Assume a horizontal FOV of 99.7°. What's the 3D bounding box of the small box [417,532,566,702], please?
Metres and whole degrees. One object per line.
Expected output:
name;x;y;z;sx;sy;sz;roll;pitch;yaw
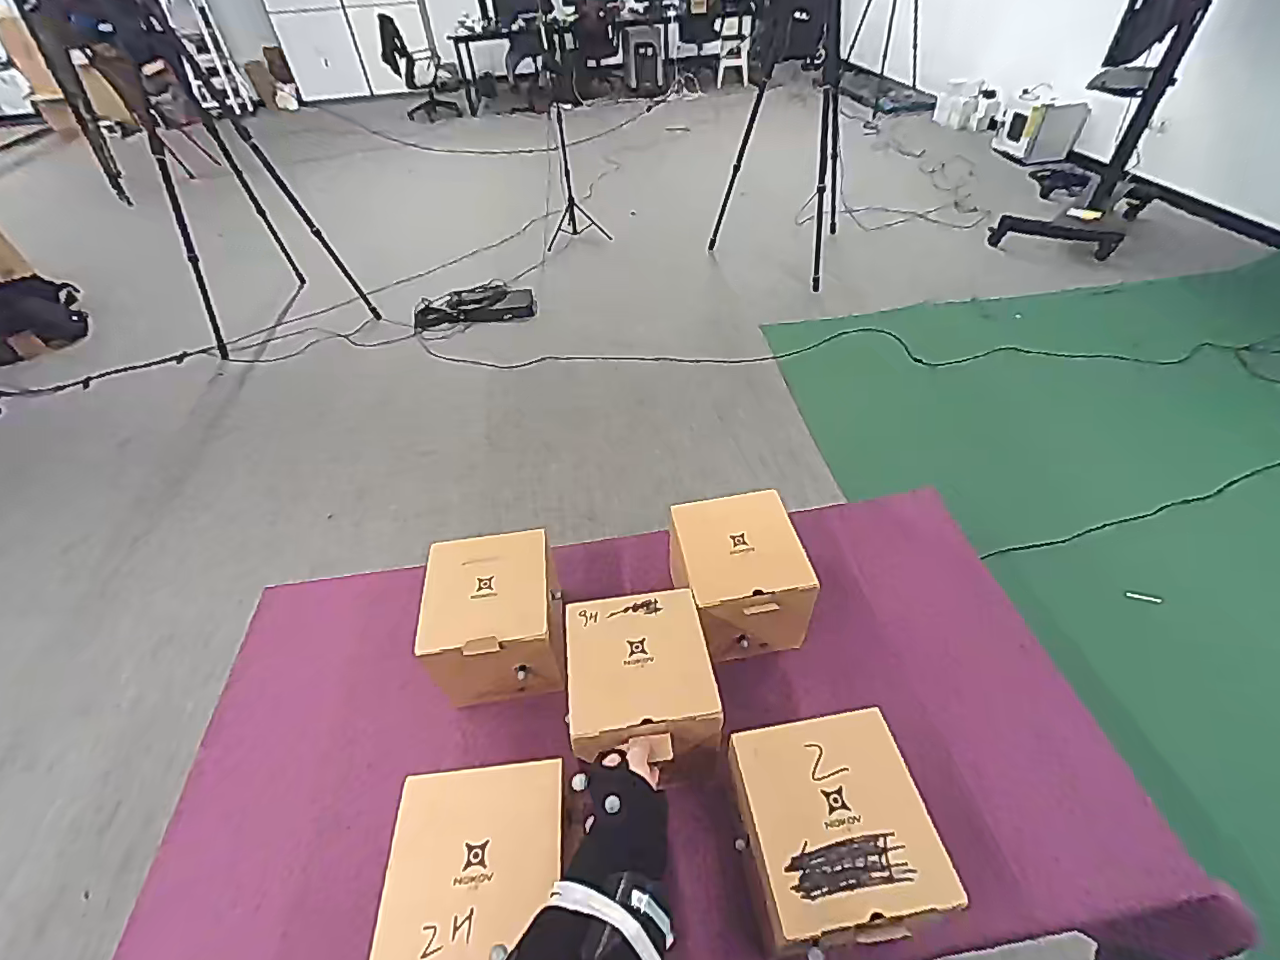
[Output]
small box;-0.201;0.203;0.782;0.168;0.176;0.179;-7;46;-3

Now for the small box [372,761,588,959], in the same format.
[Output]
small box;-0.148;0.420;0.562;0.168;0.176;0.179;-7;45;0

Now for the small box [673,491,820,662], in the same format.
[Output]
small box;0.144;0.143;0.808;0.168;0.176;0.179;-9;47;-5
